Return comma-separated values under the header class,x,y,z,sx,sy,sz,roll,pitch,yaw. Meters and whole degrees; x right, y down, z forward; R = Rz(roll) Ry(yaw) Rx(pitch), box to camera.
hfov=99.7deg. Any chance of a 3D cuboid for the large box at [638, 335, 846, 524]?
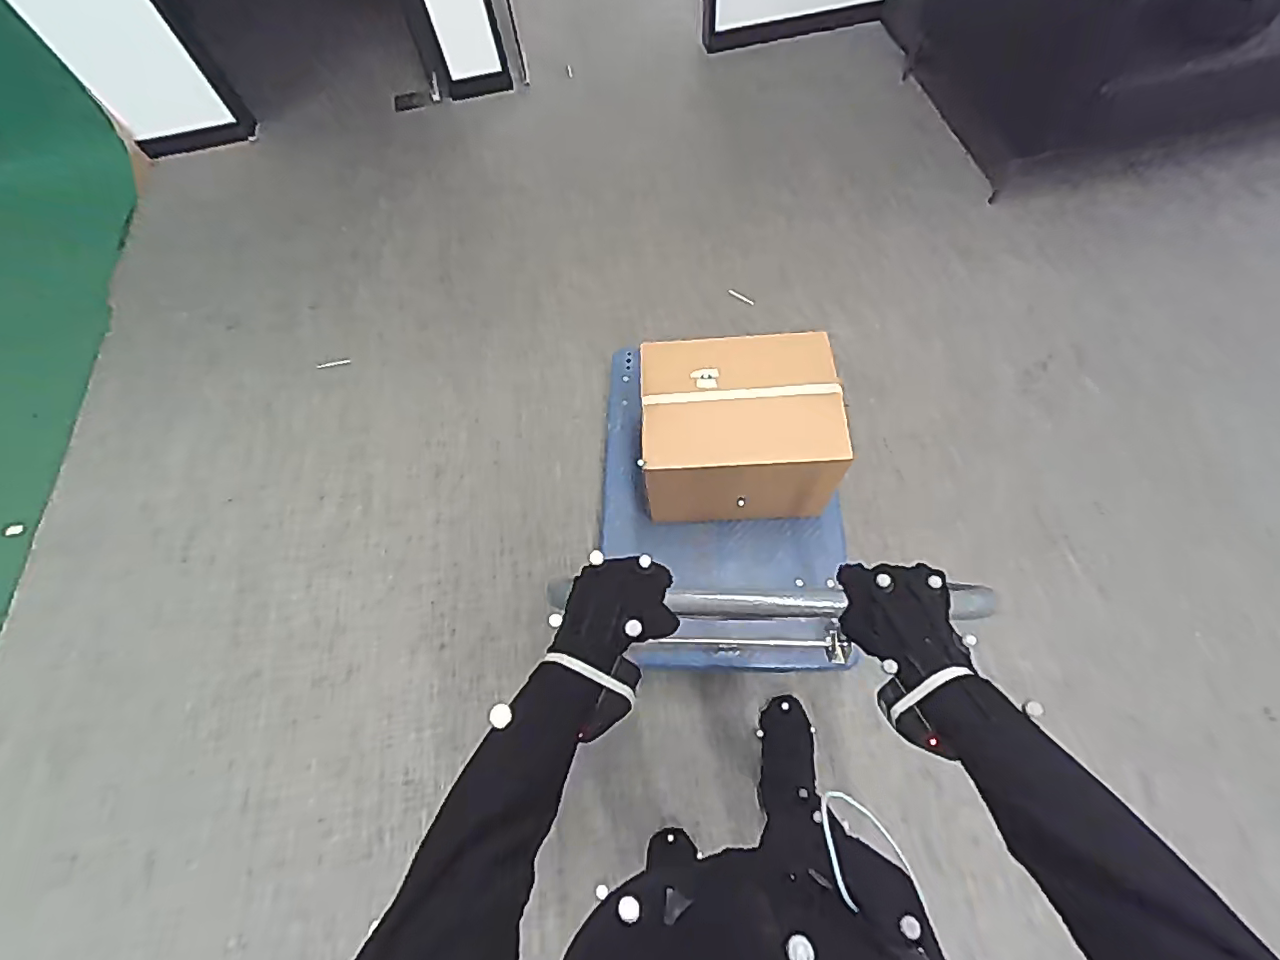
class,x,y,z,sx,sy,sz,roll,pitch,yaw
large box,0.213,-0.100,1.255,0.408,0.320,0.320,-4,64,4
